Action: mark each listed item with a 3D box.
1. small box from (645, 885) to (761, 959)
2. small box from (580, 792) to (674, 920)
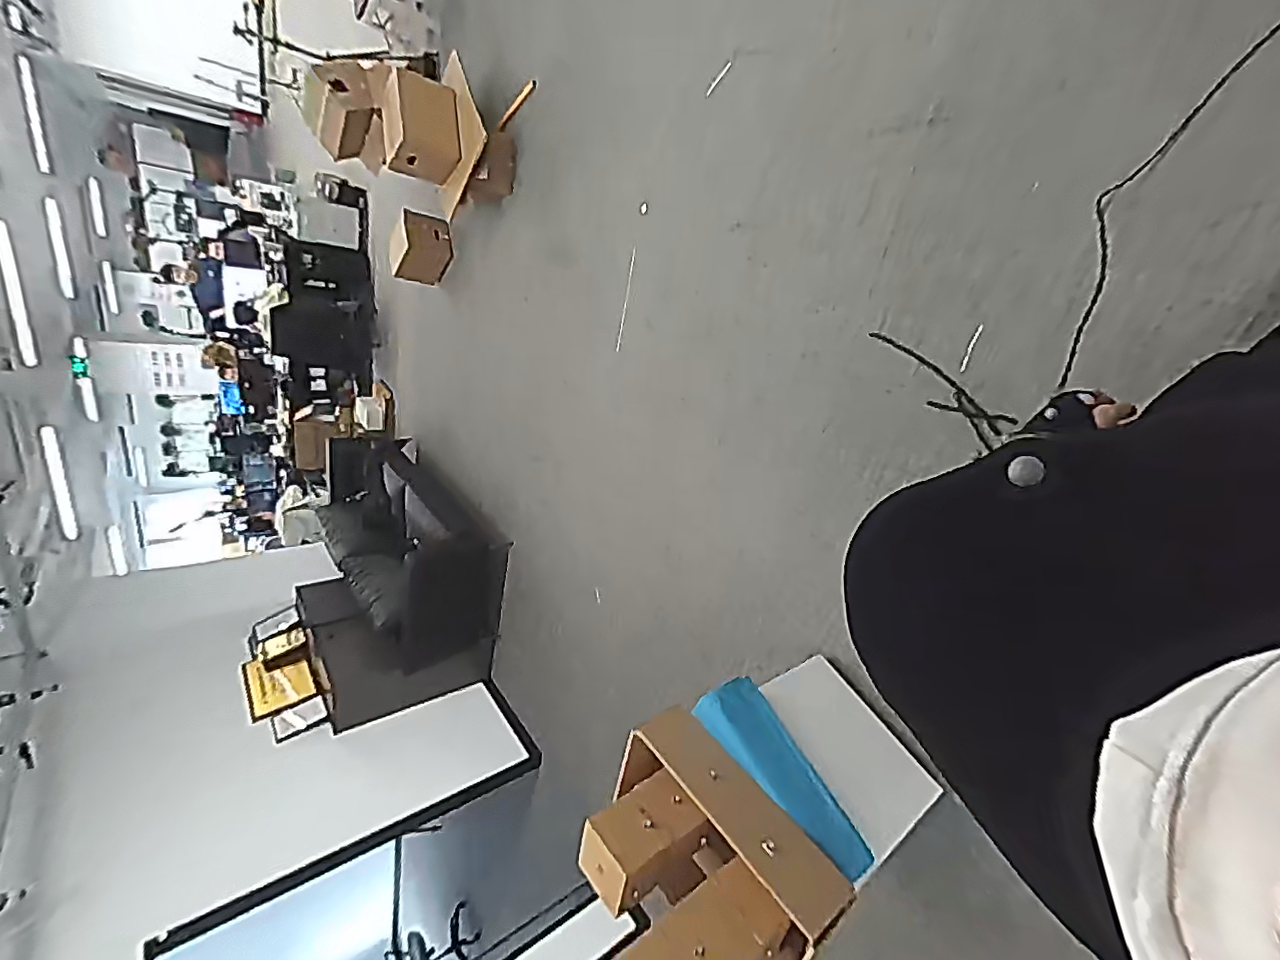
[{"bbox_3d":[0.138,1.060,1.196,0.179,0.176,0.168,34,121,44],"label":"small box"},{"bbox_3d":[-0.033,0.954,1.387,0.168,0.176,0.179,32,121,41],"label":"small box"}]
